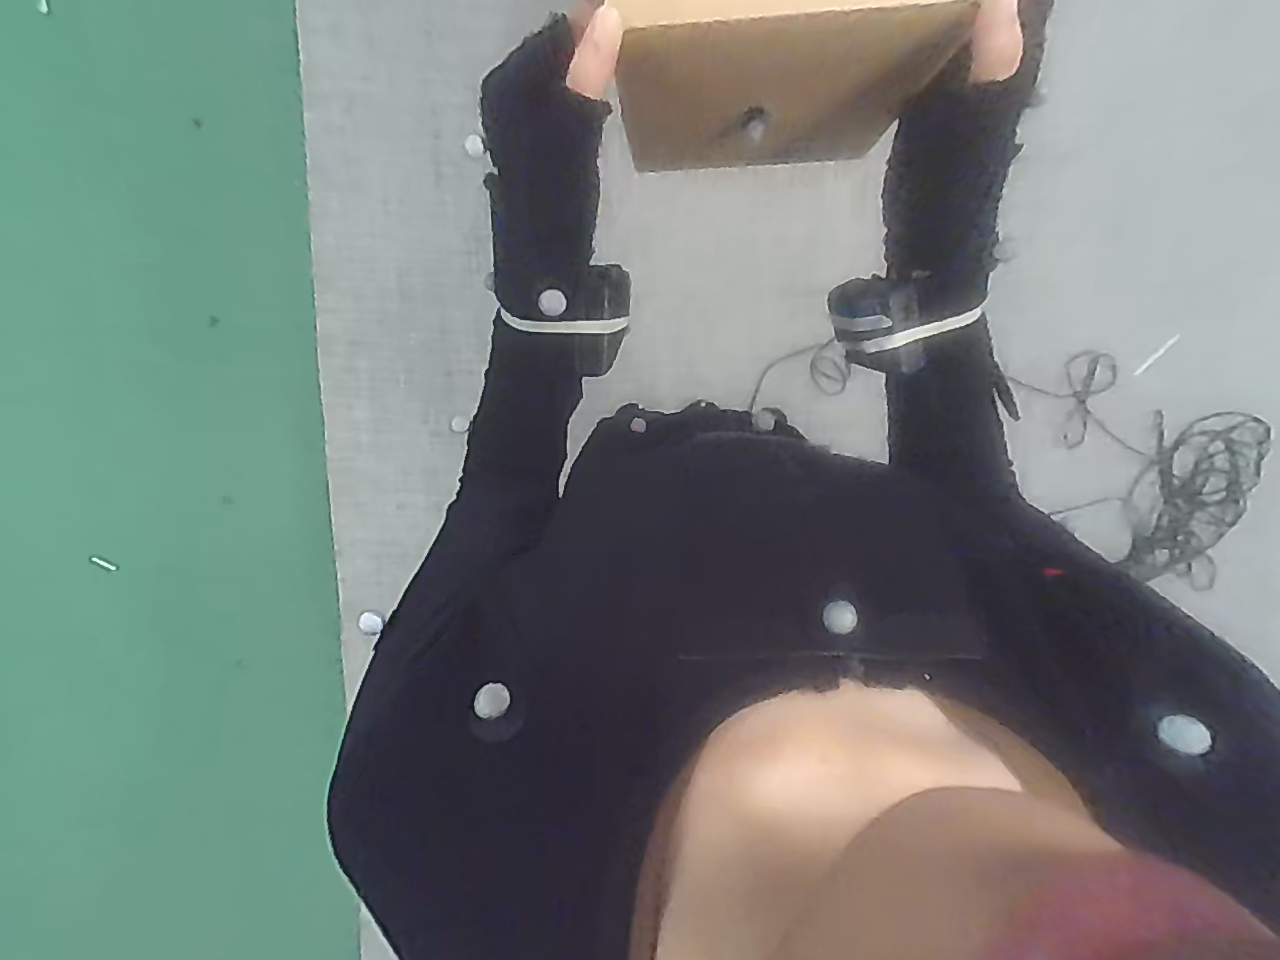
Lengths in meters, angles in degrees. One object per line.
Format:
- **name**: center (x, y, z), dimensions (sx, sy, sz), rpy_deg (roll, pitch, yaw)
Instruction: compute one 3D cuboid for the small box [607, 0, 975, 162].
- **small box**: center (0.070, -0.300, 0.304), dimensions (0.168, 0.176, 0.179), rpy_deg (-2, 100, 4)
